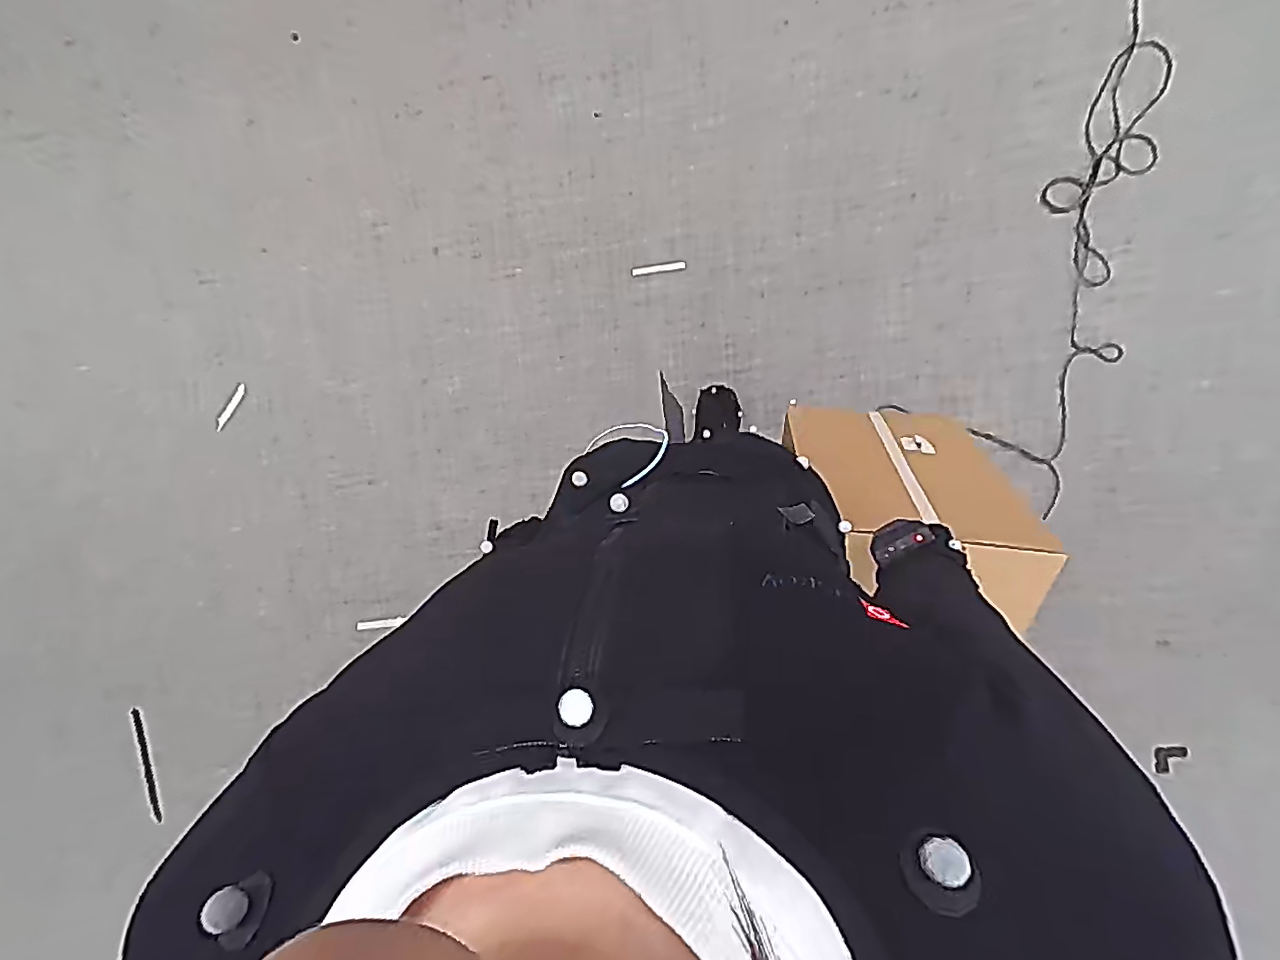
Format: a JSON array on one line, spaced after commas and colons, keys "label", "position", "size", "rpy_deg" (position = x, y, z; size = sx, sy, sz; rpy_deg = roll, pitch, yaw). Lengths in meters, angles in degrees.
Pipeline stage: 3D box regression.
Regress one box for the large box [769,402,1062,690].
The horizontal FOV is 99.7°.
[{"label": "large box", "position": [0.409, 0.092, 0.939], "size": [0.320, 0.408, 0.320], "rpy_deg": [5, 122, 6]}]
